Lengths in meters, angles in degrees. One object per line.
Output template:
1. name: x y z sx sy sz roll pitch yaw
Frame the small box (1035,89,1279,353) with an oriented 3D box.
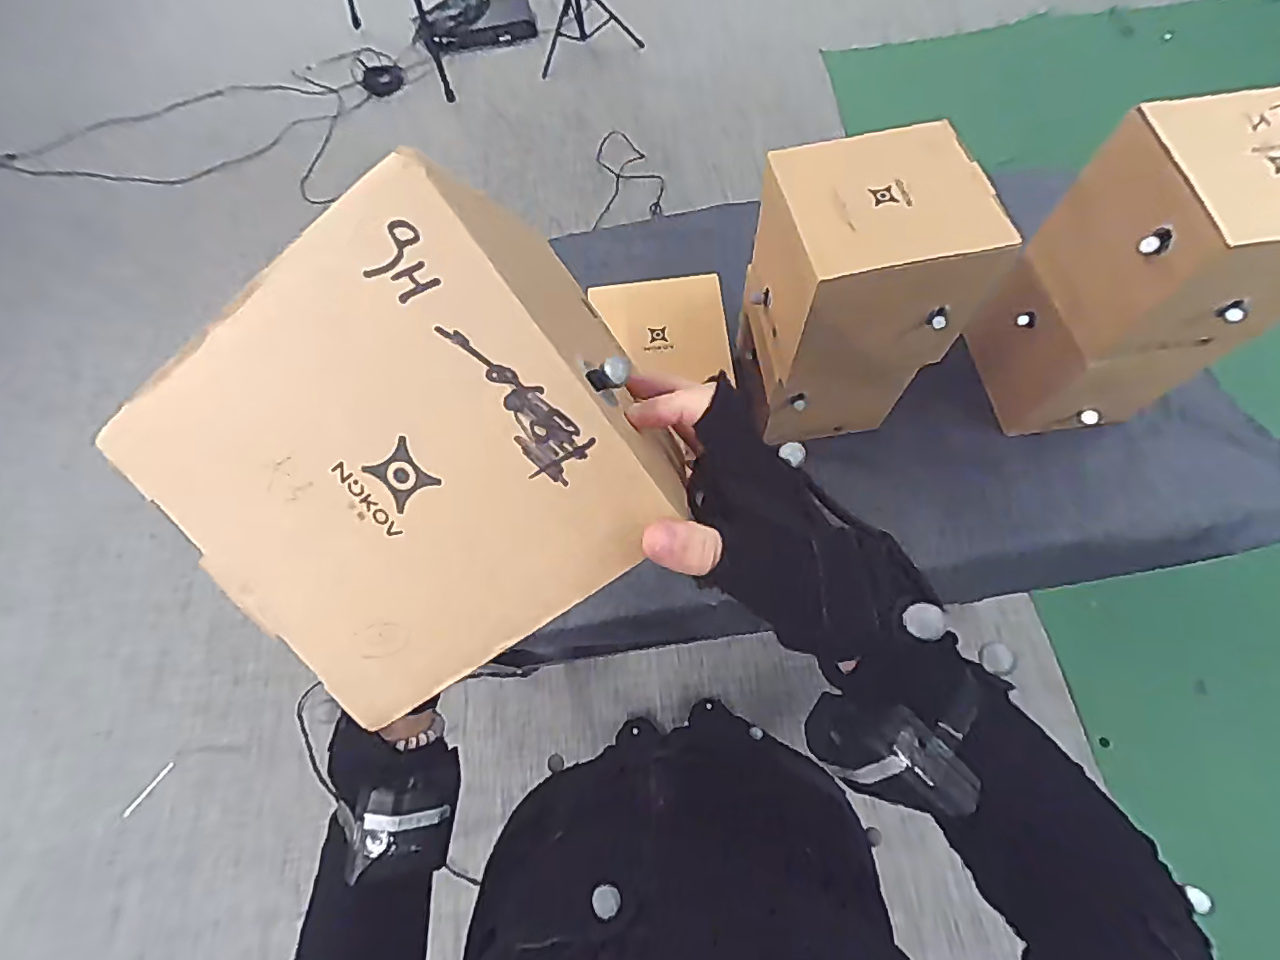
1. small box: 0.548 -0.242 0.538 0.168 0.176 0.179 -6 67 2

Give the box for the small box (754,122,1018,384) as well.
1. small box: 0.228 -0.222 0.558 0.179 0.176 0.168 -10 66 1

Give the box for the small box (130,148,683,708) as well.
1. small box: -0.088 -0.025 0.292 0.179 0.176 0.168 -33 101 13
